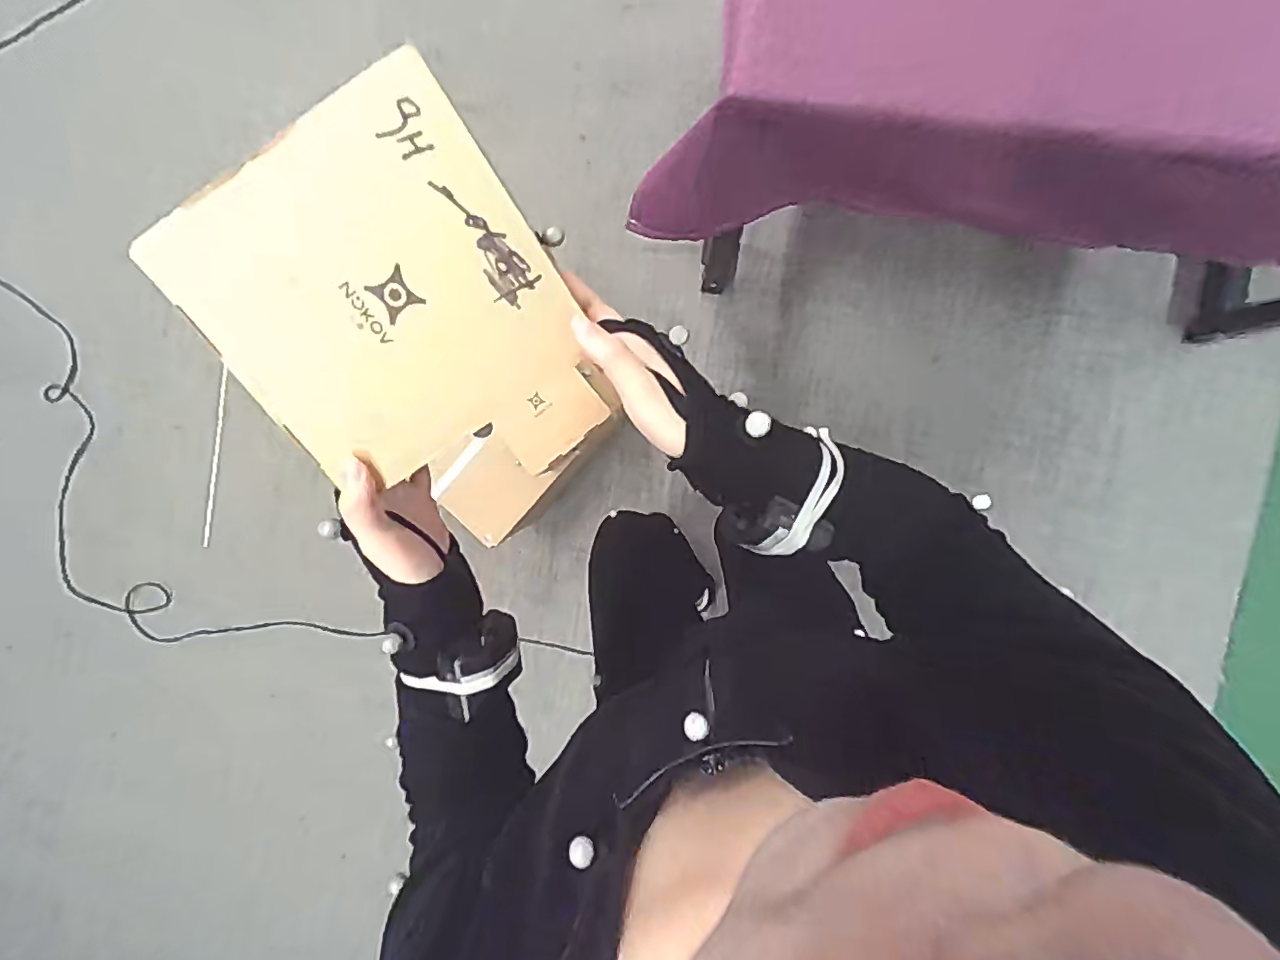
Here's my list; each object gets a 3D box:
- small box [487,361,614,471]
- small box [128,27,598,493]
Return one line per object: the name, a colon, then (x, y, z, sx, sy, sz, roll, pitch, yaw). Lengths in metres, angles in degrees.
small box: (-0.160, -0.135, 0.932, 0.168, 0.176, 0.179, -39, 96, 4)
small box: (-0.140, -0.124, 0.351, 0.179, 0.176, 0.168, -31, 111, 6)
